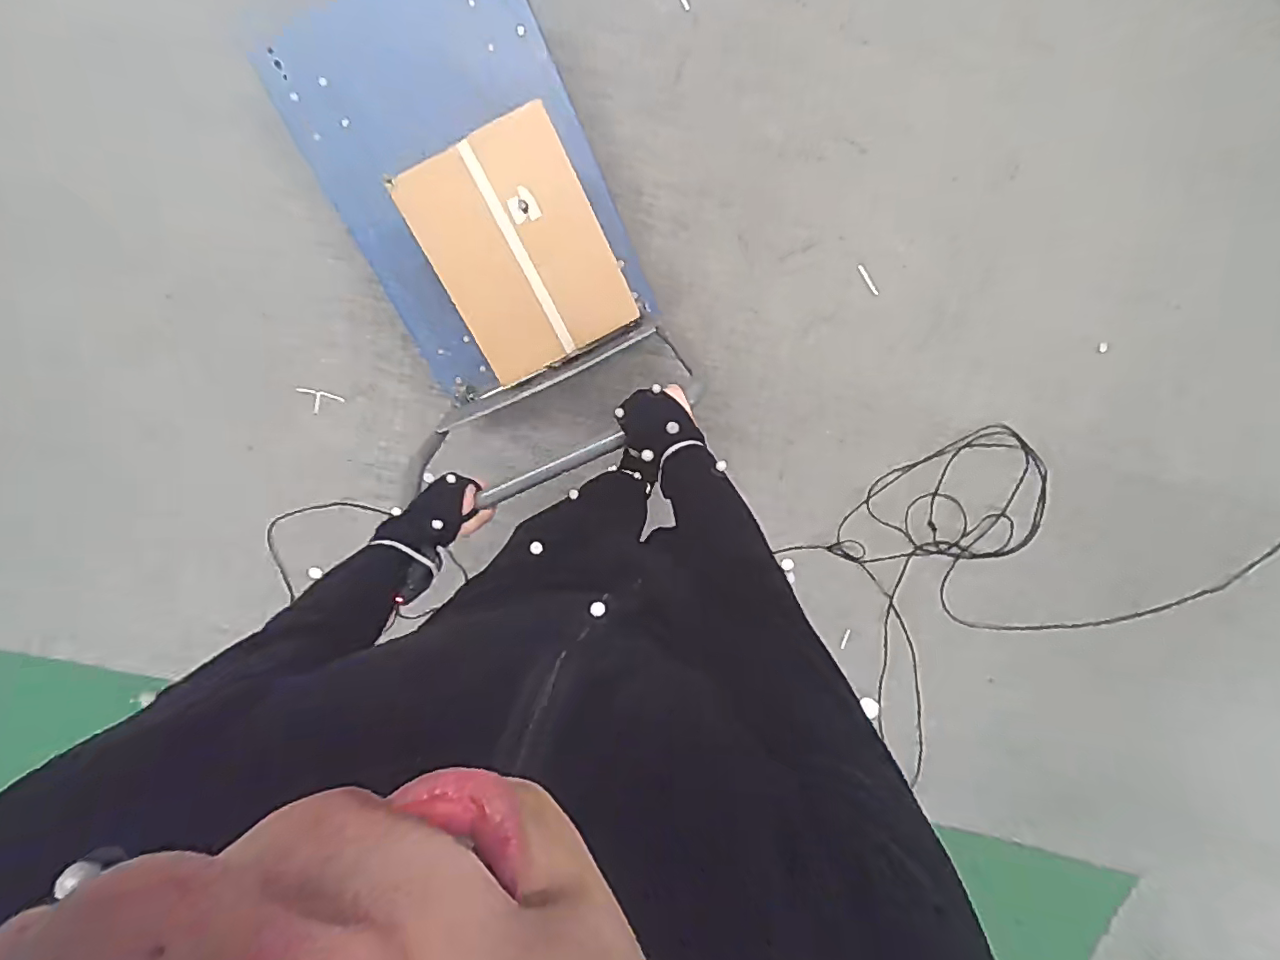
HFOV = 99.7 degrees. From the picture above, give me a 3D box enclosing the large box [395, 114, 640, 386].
[{"bbox_3d":[-0.232,-0.467,1.171,0.320,0.320,0.408,-27,109,3],"label":"large box"}]
